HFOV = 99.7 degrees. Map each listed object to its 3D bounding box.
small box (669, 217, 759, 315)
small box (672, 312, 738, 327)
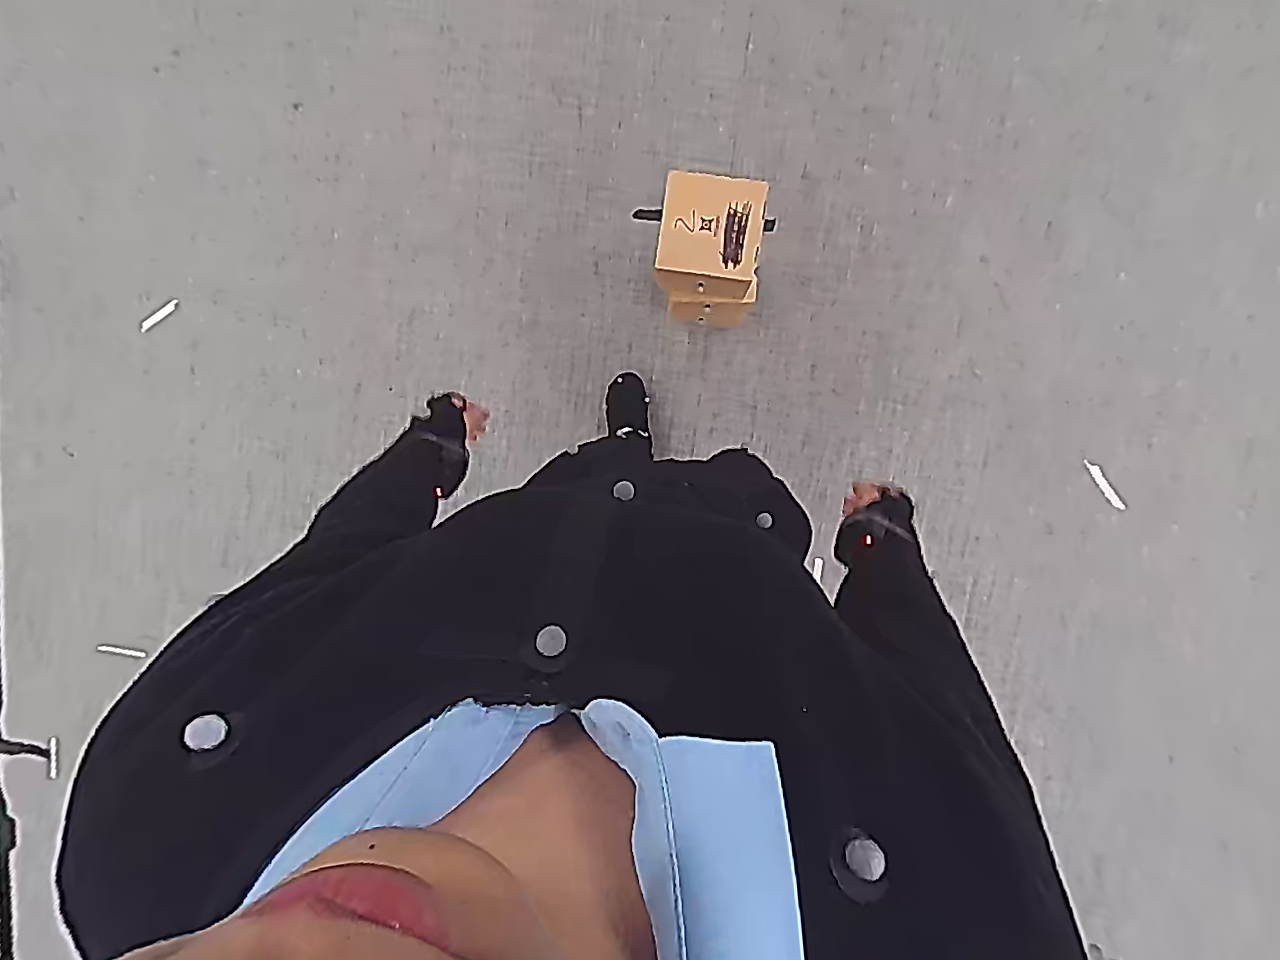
[{"bbox_3d":[0.153,-0.457,1.172,0.179,0.176,0.168,2,97,4],"label":"small box"},{"bbox_3d":[0.170,-0.485,1.332,0.168,0.176,0.179,10,97,2],"label":"small box"}]
